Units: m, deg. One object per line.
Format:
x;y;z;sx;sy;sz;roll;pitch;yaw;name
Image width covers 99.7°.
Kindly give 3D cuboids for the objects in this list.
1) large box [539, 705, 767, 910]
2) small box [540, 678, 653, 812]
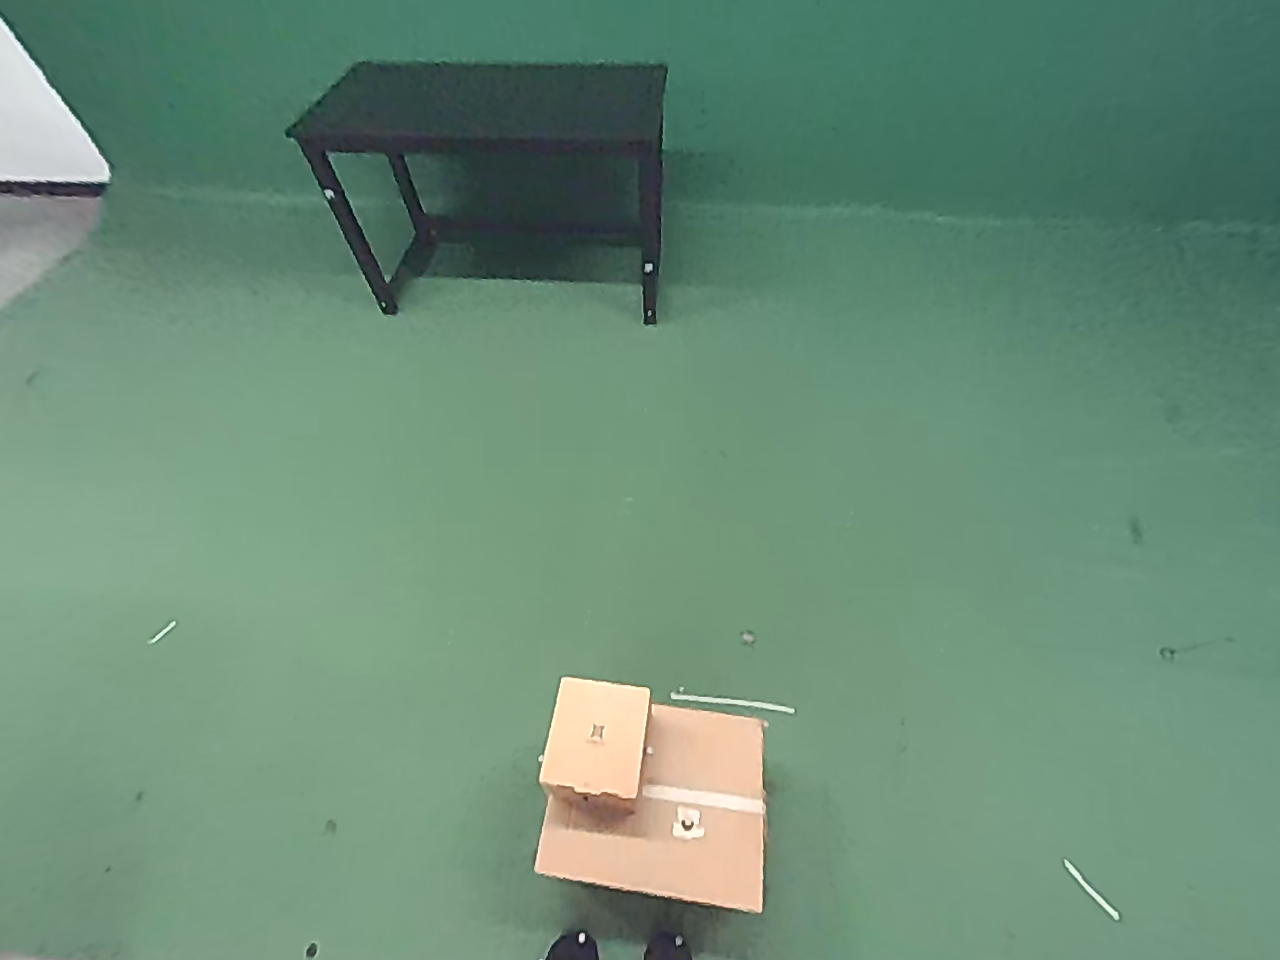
0.036;0.674;1.134;0.408;0.320;0.320;6;55;5;large box
-0.070;0.481;0.978;0.168;0.176;0.179;6;54;6;small box
